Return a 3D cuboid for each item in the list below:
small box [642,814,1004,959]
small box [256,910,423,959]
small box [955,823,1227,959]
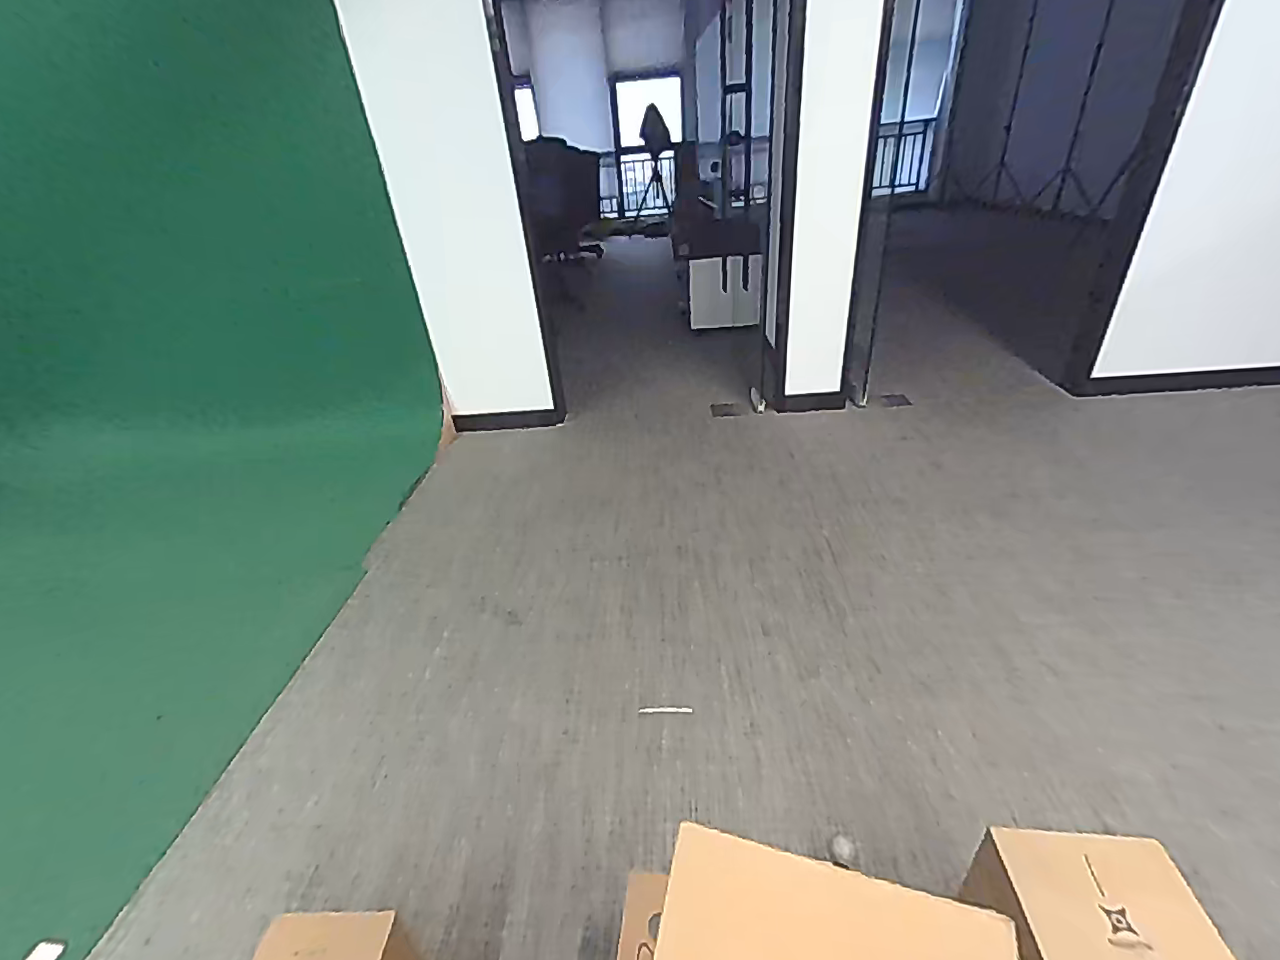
[{"bbox_3d":[0.094,0.324,0.320,0.179,0.176,0.168,7,56,17],"label":"small box"},{"bbox_3d":[-0.391,0.681,0.679,0.168,0.176,0.179,-3,30,3],"label":"small box"},{"bbox_3d":[0.447,0.485,0.543,0.168,0.176,0.179,-1,30,8],"label":"small box"}]
